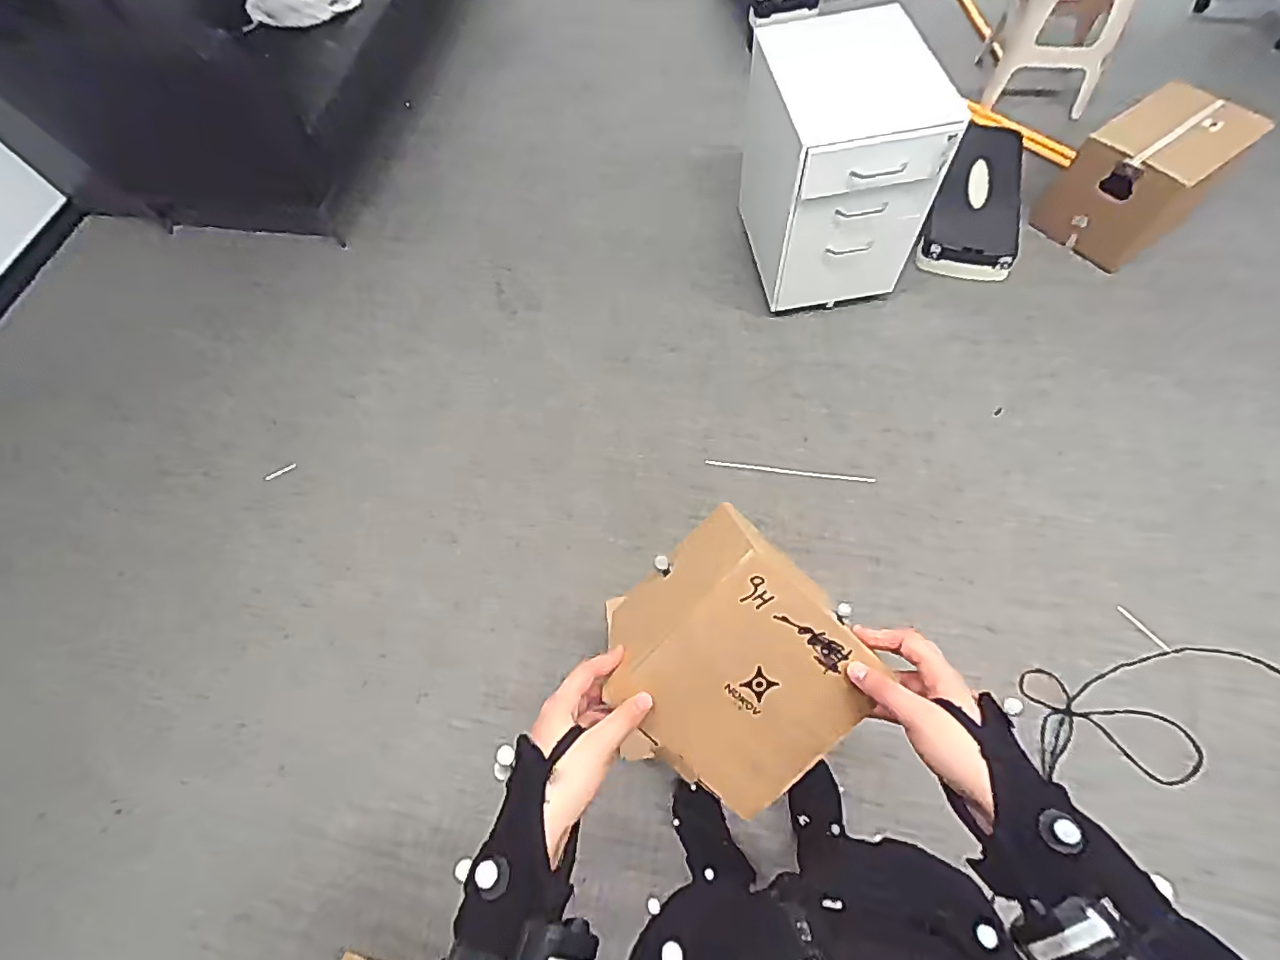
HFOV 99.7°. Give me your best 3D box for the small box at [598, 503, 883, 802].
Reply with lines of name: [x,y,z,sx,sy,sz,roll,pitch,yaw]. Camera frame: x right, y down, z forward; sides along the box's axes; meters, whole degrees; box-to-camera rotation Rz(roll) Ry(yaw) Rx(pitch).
small box: [0.085,0.147,0.519,0.168,0.176,0.179,42,98,-5]
